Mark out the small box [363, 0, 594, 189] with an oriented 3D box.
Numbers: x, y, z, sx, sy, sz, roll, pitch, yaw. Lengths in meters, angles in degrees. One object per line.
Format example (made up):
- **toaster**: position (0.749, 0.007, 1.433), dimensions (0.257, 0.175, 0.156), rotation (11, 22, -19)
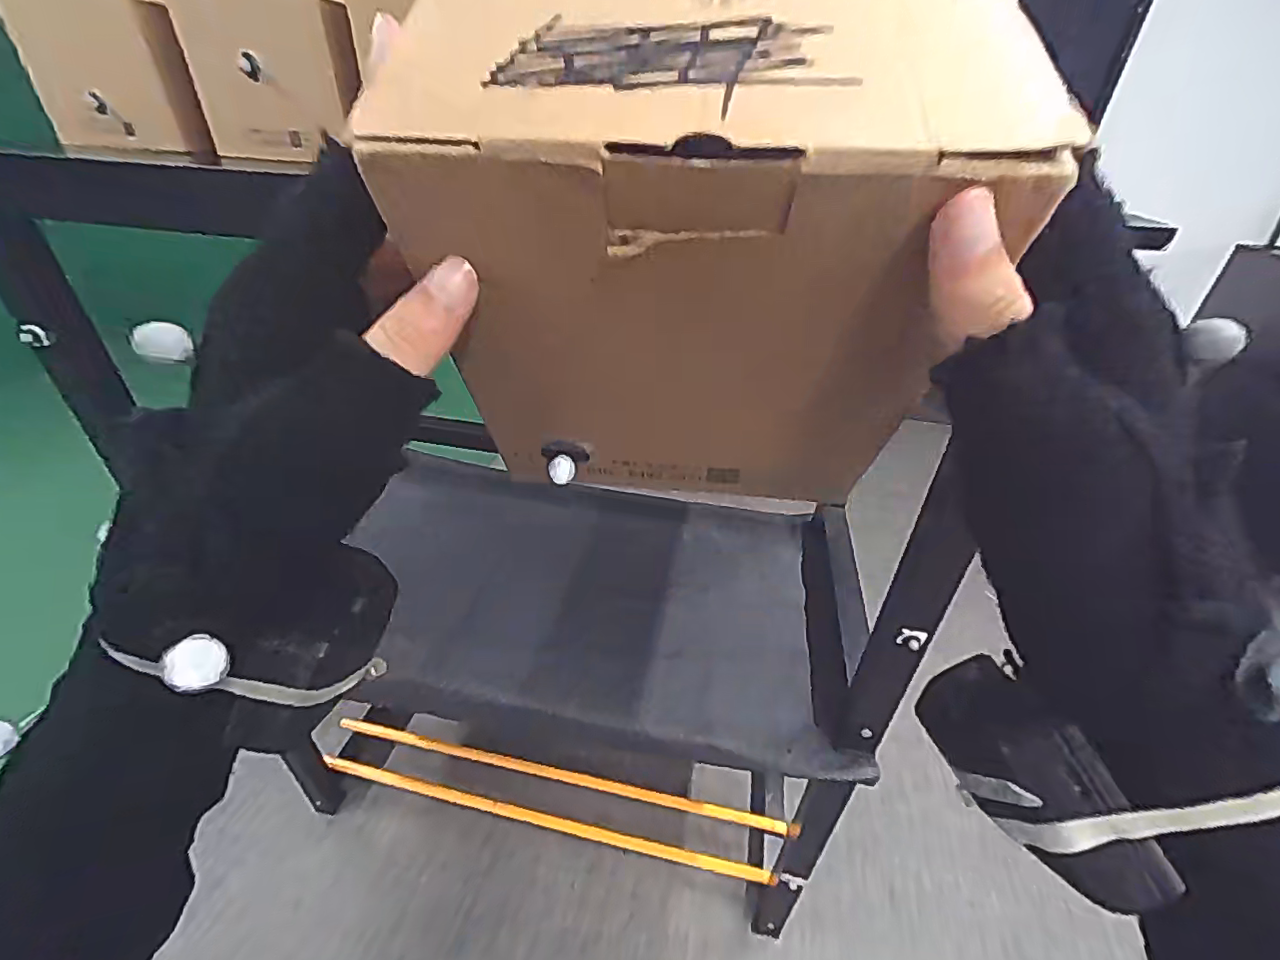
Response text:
- **small box**: position (-0.150, -0.402, 0.544), dimensions (0.168, 0.176, 0.179), rotation (10, 35, 10)
